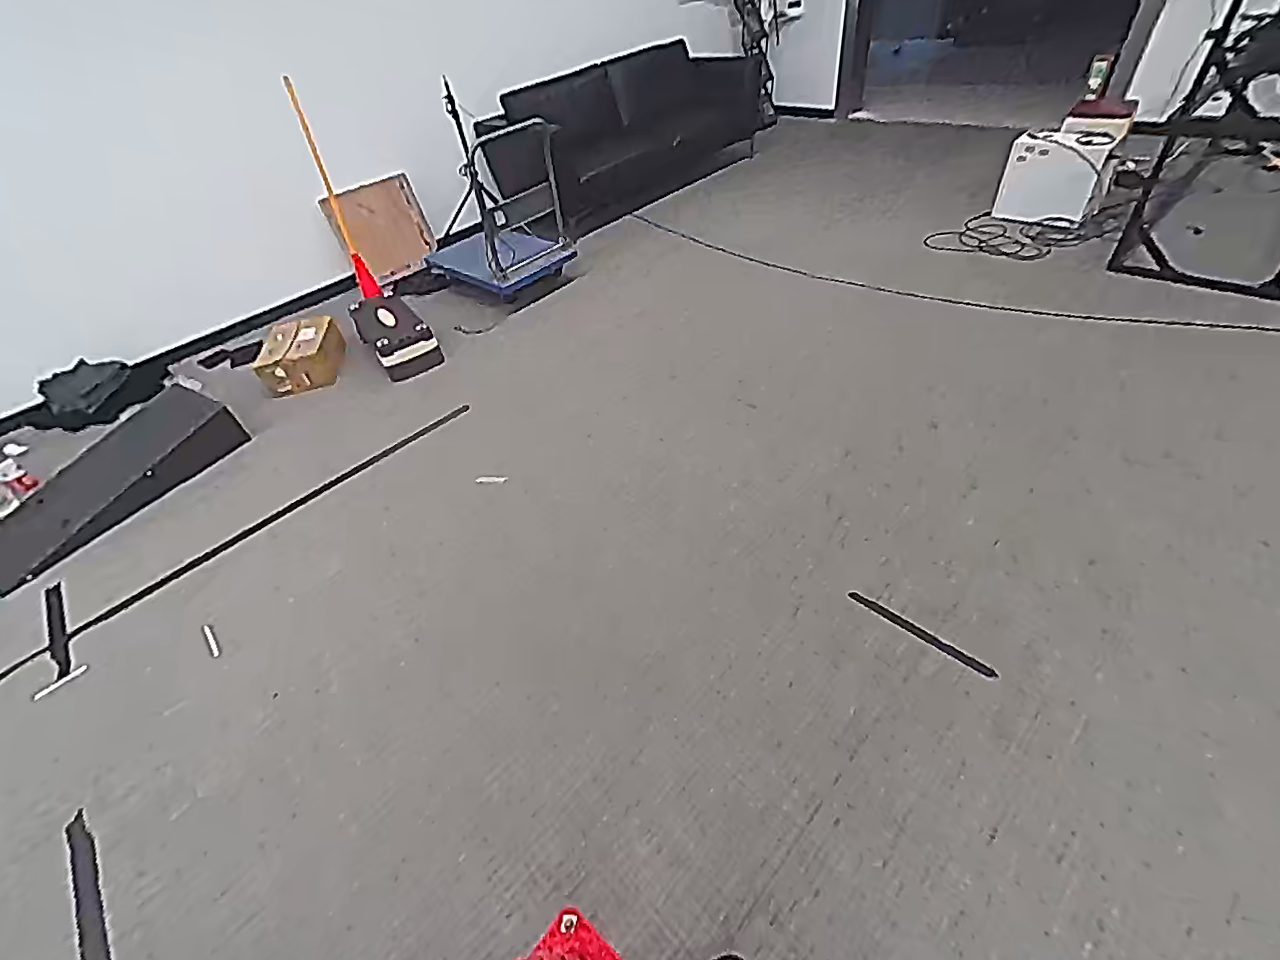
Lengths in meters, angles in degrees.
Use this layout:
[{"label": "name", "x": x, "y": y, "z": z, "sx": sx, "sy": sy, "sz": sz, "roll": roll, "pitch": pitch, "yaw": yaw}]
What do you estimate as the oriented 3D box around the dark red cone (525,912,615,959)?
[{"label": "dark red cone", "x": -0.159, "y": 0.829, "z": 0.863, "sx": 0.202, "sy": 0.394, "sz": 0.201, "roll": 24, "pitch": 54, "yaw": 31}]
